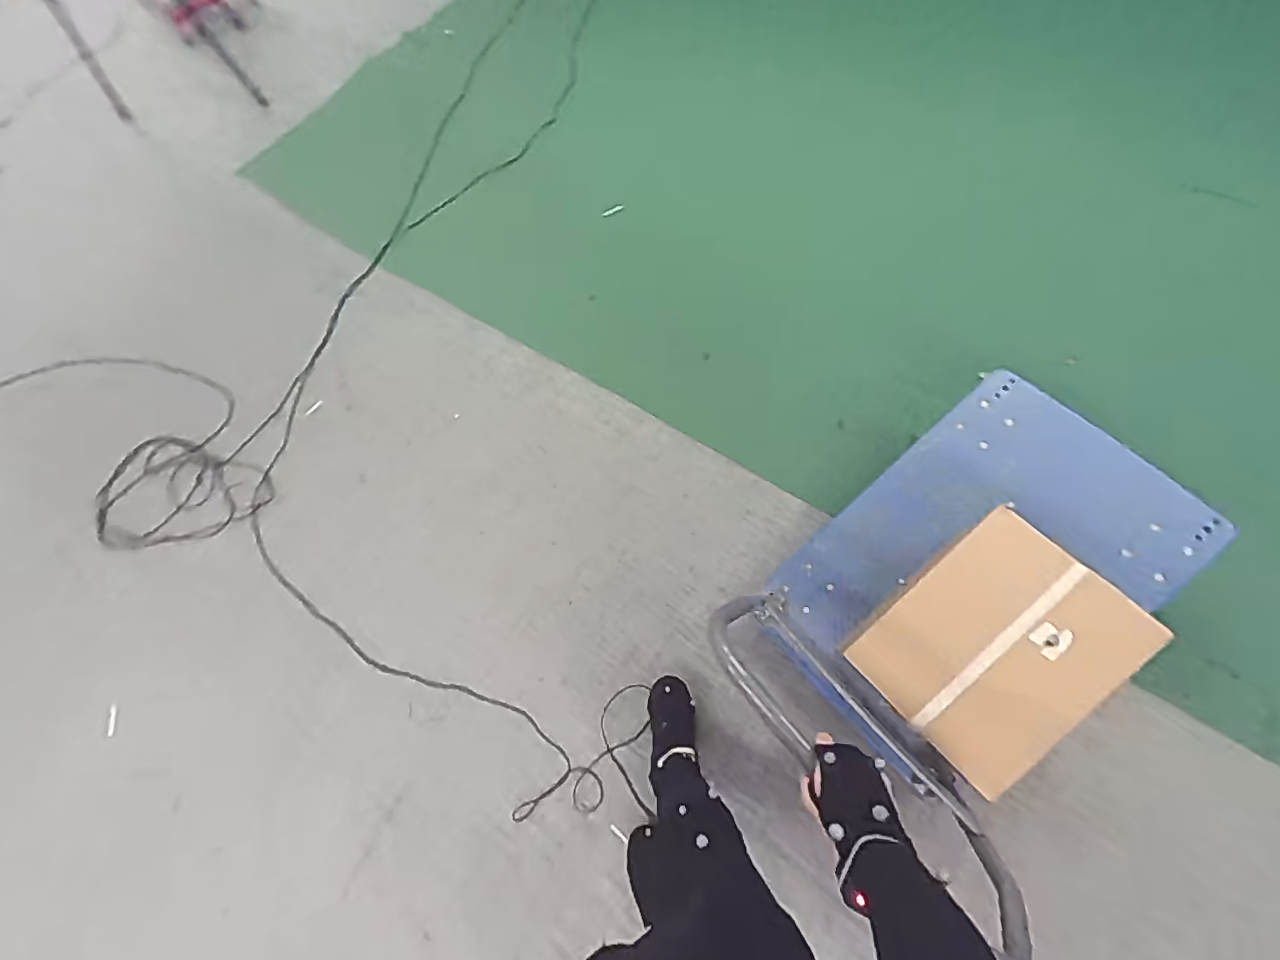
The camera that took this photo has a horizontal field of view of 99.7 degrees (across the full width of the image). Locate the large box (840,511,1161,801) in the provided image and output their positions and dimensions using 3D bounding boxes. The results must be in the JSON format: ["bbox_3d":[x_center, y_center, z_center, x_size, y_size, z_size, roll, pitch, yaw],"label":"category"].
[{"bbox_3d":[0.661,0.335,1.081,0.408,0.320,0.320,-44,68,1],"label":"large box"}]
